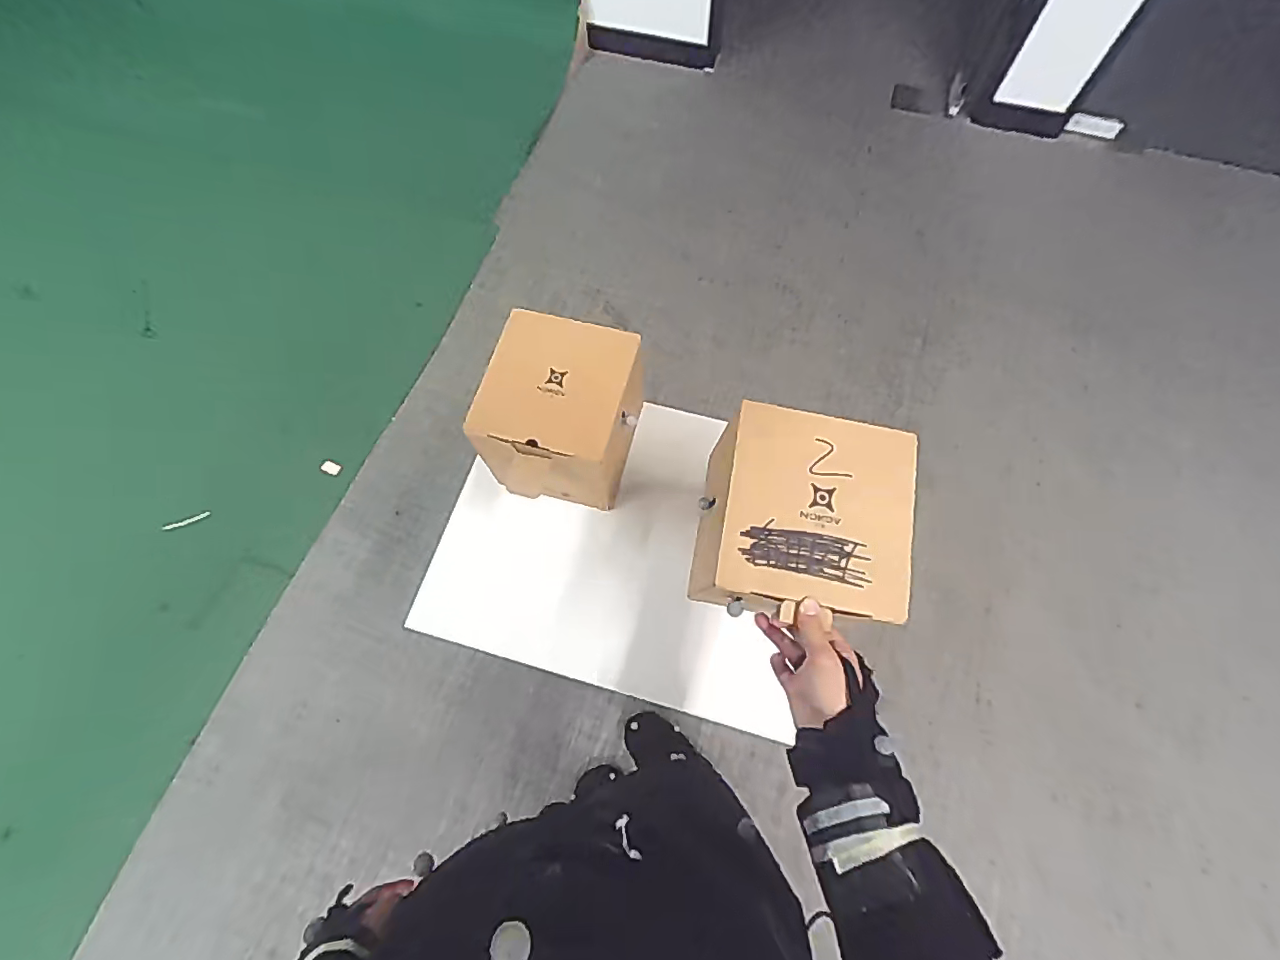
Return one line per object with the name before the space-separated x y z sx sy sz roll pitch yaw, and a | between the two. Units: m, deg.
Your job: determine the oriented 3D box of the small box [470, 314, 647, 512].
small box | -0.092 -0.079 0.702 0.168 0.176 0.179 14 70 6
